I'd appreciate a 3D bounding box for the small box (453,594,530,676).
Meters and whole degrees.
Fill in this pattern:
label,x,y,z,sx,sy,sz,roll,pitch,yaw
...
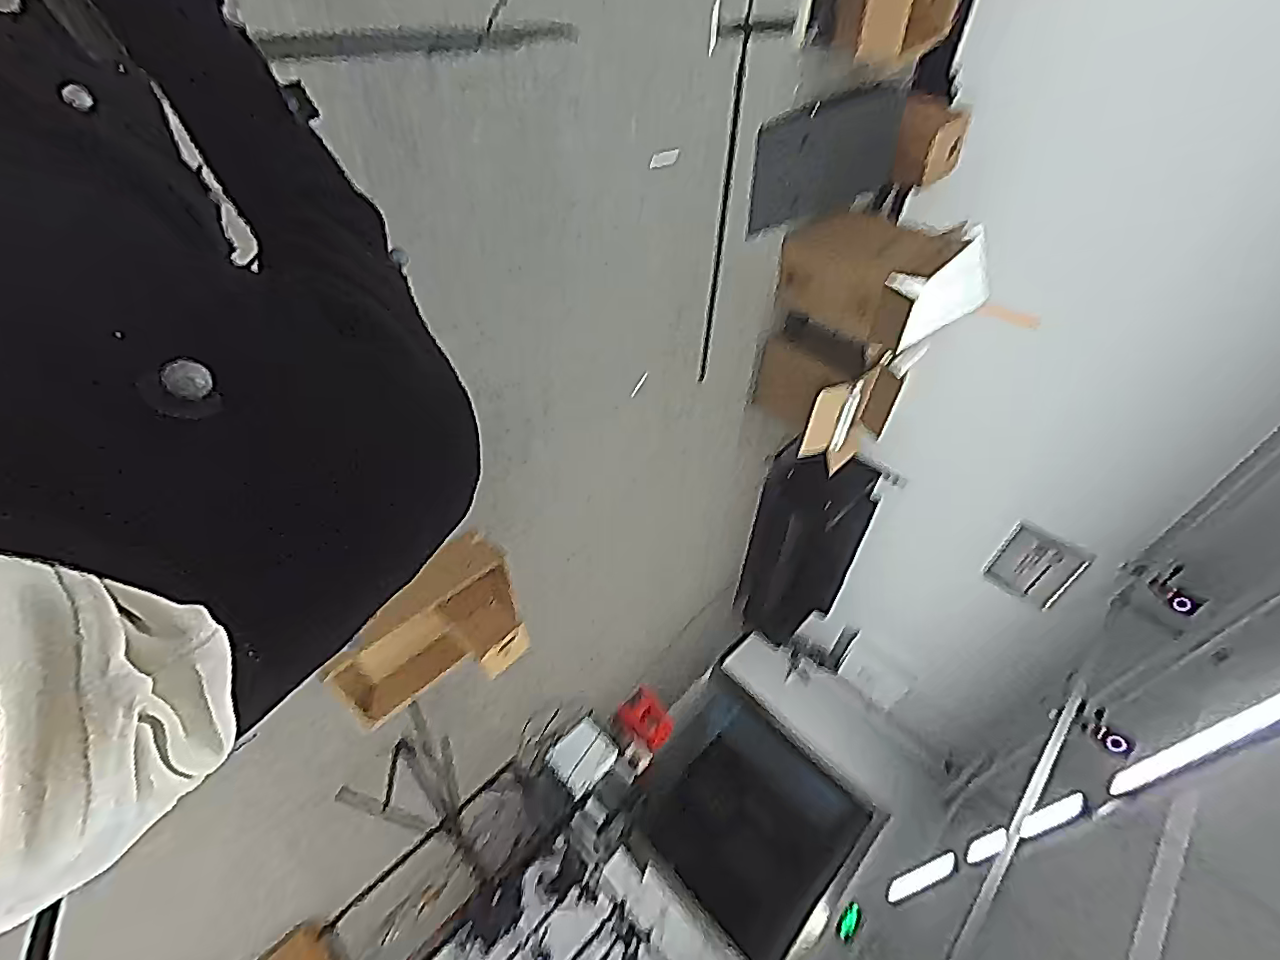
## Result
label,x,y,z,sx,sy,sz,roll,pitch,yaw
small box,-0.492,0.505,1.789,0.168,0.176,0.179,-37,149,-28

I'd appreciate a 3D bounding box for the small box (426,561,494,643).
label,x,y,z,sx,sy,sz,roll,pitch,yaw
small box,-0.611,0.418,1.861,0.179,0.176,0.168,-39,148,-27
